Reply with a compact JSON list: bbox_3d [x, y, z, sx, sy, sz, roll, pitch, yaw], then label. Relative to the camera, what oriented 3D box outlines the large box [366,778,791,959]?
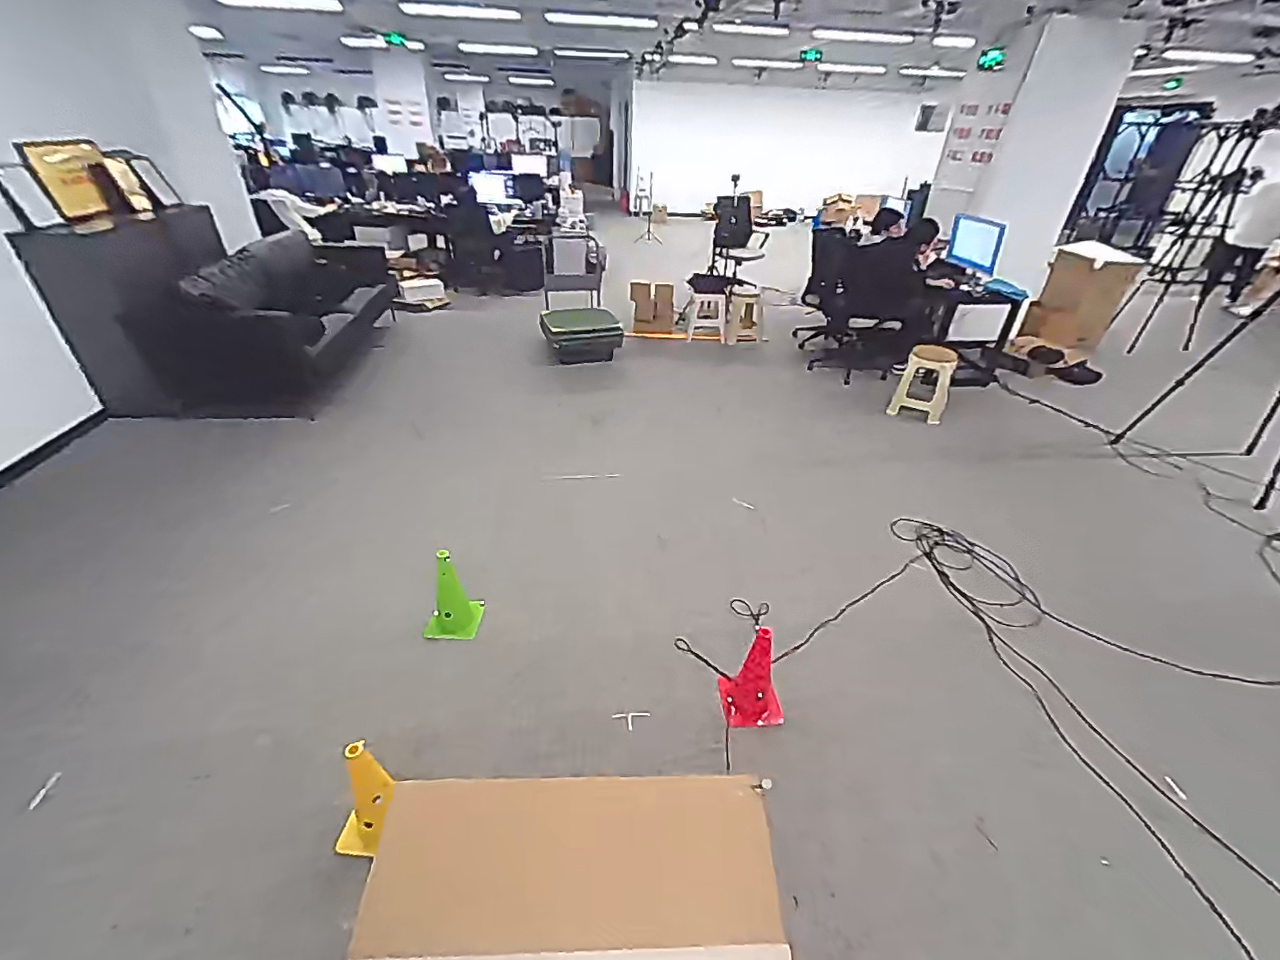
[{"bbox_3d":[-0.062,0.557,0.601,0.408,0.320,0.320,0,45,-4],"label":"large box"}]

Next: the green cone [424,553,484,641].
[{"bbox_3d":[-0.743,0.426,2.087,0.200,0.368,0.202,1,35,-1],"label":"green cone"}]
